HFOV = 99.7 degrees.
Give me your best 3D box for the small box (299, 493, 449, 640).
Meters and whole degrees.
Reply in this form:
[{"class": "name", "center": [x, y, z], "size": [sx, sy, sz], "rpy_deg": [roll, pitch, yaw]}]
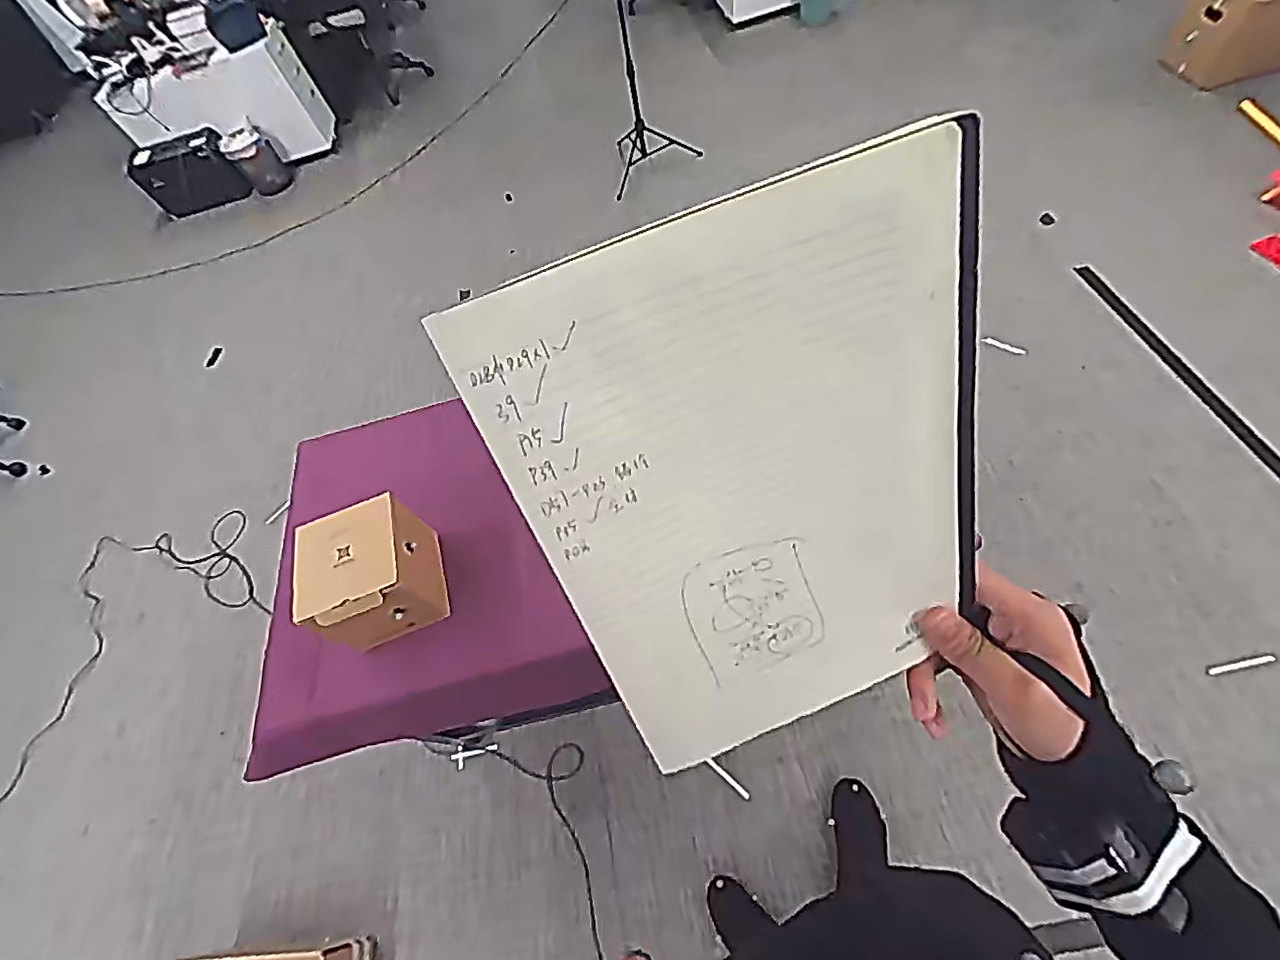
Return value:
[{"class": "small box", "center": [-0.442, 0.156, 0.915], "size": [0.168, 0.176, 0.179], "rpy_deg": [-21, 58, -1]}]
